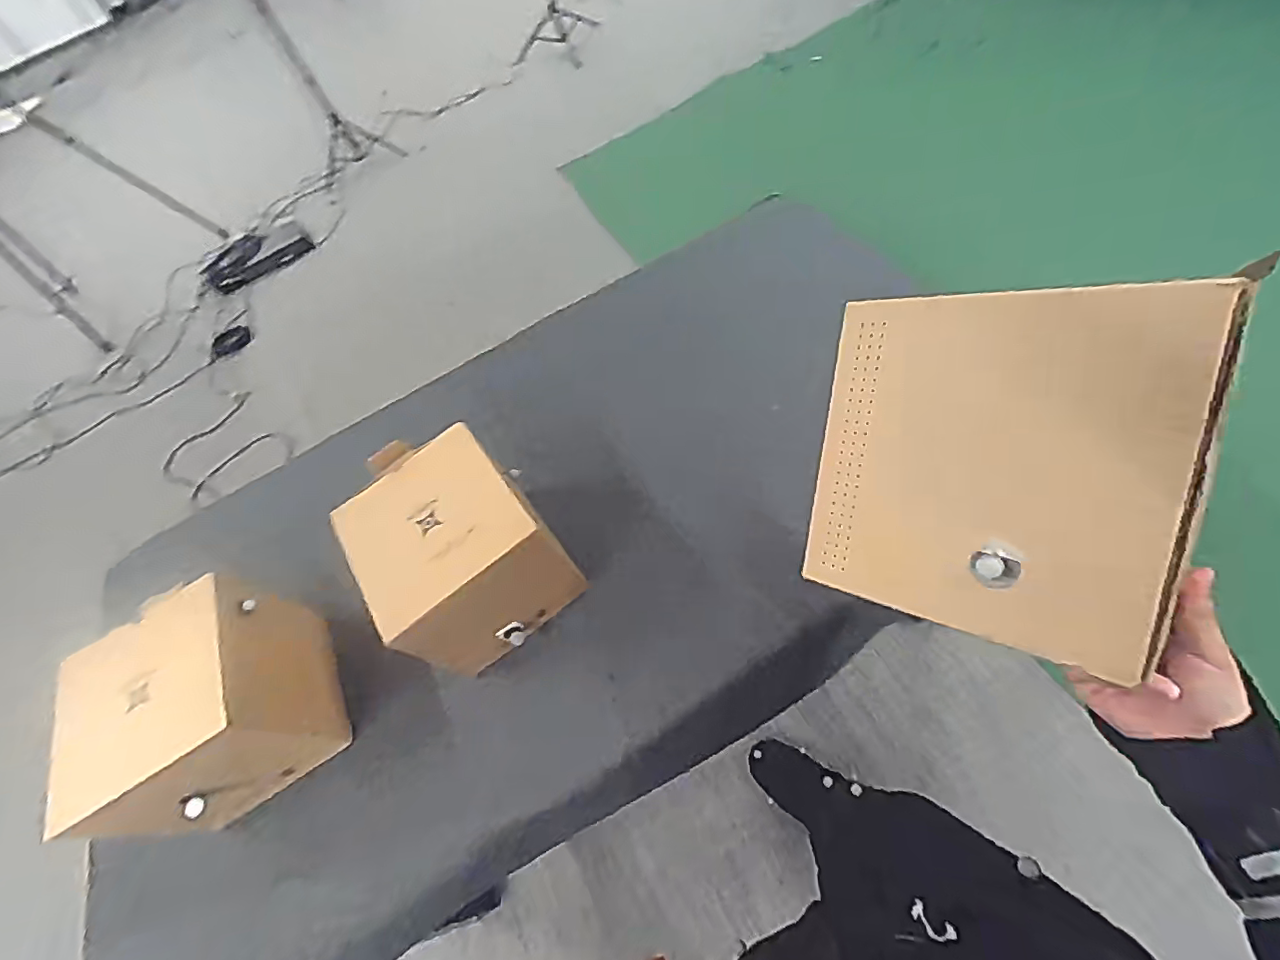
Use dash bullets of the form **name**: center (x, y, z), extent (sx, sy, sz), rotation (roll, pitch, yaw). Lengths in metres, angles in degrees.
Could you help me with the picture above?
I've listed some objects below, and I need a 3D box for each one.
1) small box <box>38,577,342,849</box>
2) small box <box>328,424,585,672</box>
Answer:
- **small box**: center (-0.441, 0.237, 0.555), extent (0.168, 0.176, 0.179), rotation (-33, 56, -7)
- **small box**: center (-0.188, 0.079, 0.586), extent (0.168, 0.176, 0.179), rotation (-39, 59, -9)
